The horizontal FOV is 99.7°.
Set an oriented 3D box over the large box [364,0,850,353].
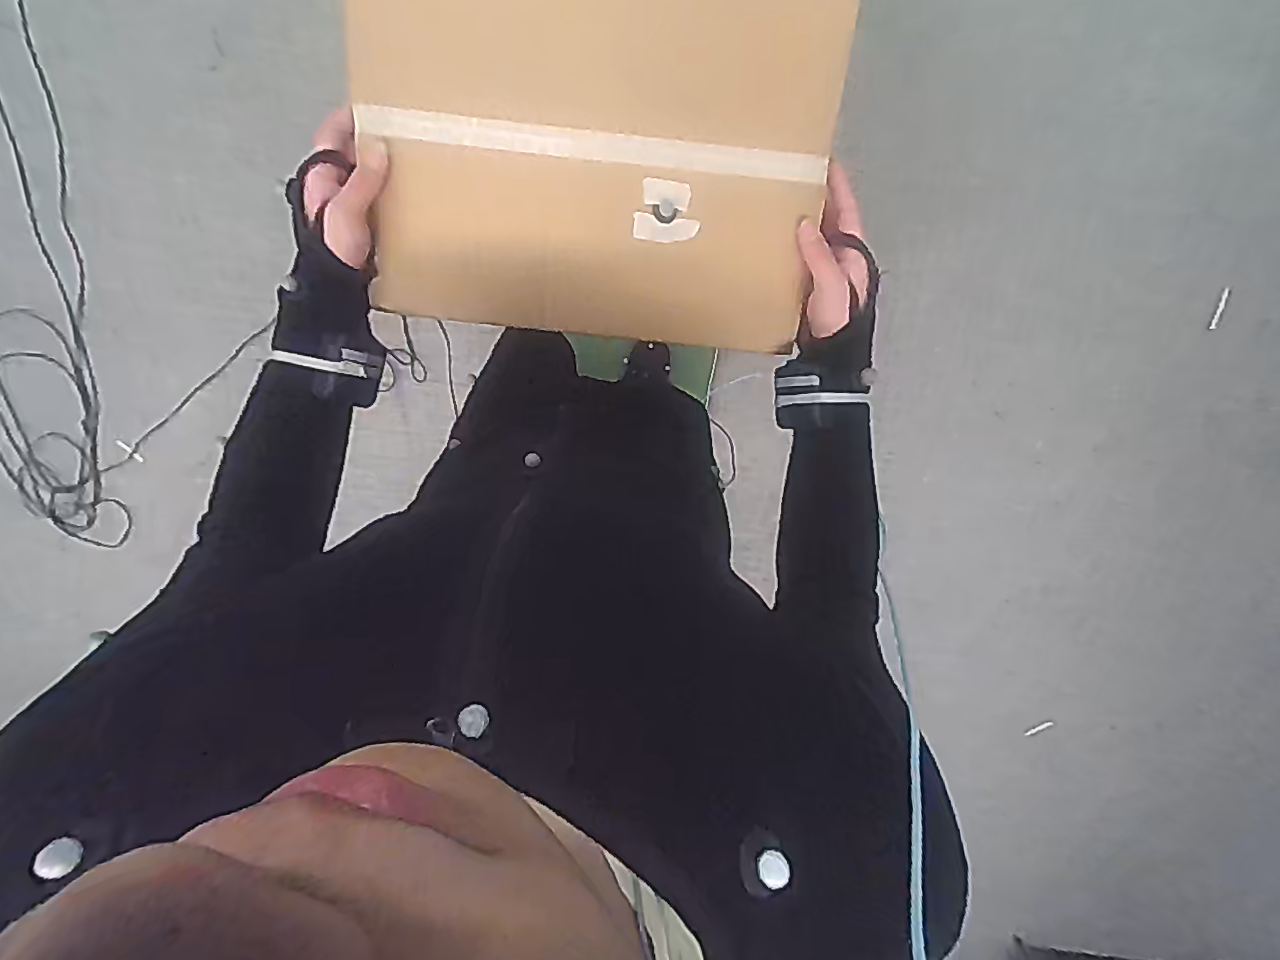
[{"bbox_3d":[-0.040,-0.333,0.619,0.408,0.320,0.320,5,110,-3],"label":"large box"}]
